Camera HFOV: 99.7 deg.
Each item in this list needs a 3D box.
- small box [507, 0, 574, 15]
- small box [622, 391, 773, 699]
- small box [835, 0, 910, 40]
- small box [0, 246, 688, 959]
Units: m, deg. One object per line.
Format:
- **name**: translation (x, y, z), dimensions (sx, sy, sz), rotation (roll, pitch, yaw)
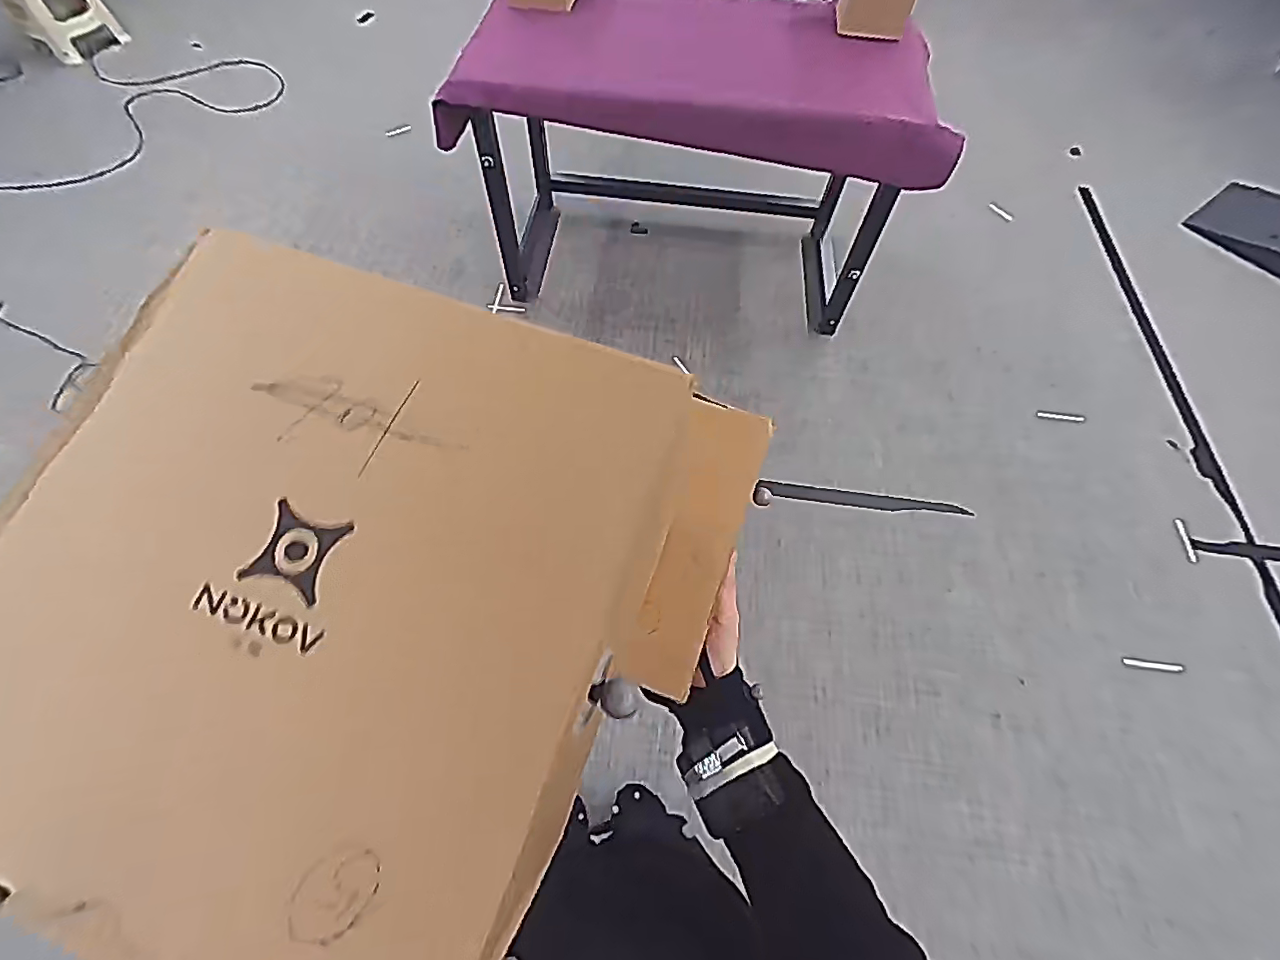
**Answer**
- **small box**: translation (-0.277, -1.427, 1.492), dimensions (0.179, 0.176, 0.168), rotation (10, 64, 2)
- **small box**: translation (-0.020, 0.041, 0.395), dimensions (0.168, 0.176, 0.179), rotation (19, 71, 7)
- **small box**: translation (0.641, -1.338, 1.473), dimensions (0.179, 0.176, 0.168), rotation (8, 62, 2)
- **small box**: translation (-0.086, 0.049, 0.220), dimensions (0.168, 0.176, 0.179), rotation (18, 74, 6)
